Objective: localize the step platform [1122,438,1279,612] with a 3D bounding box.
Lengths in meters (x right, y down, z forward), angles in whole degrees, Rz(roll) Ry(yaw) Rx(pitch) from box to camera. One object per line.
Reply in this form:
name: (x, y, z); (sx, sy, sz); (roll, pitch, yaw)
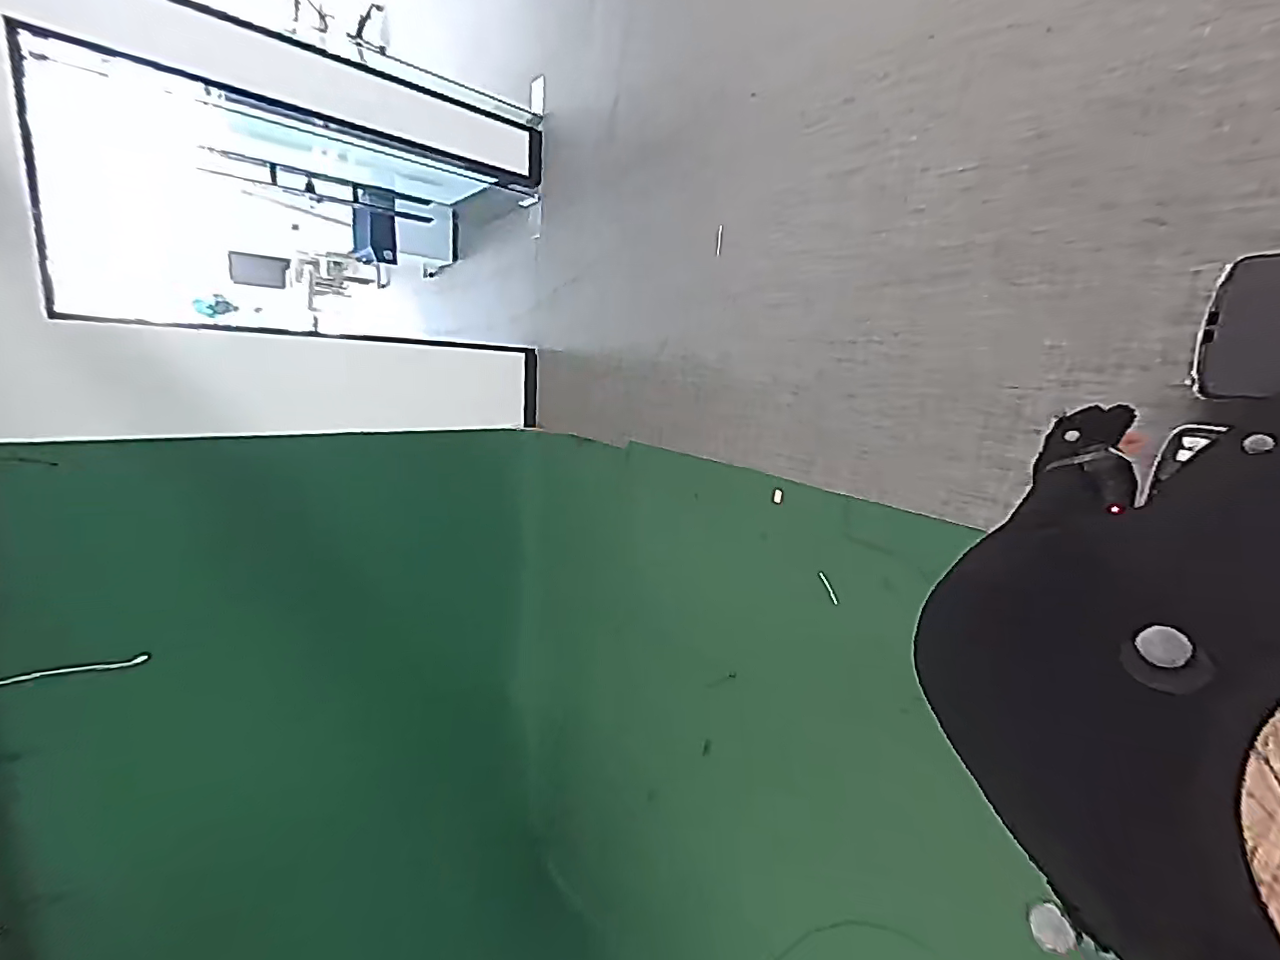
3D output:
step platform: (1.167, 0.121, 0.777); (0.684, 0.204, 0.286); (17, 107, 47)
